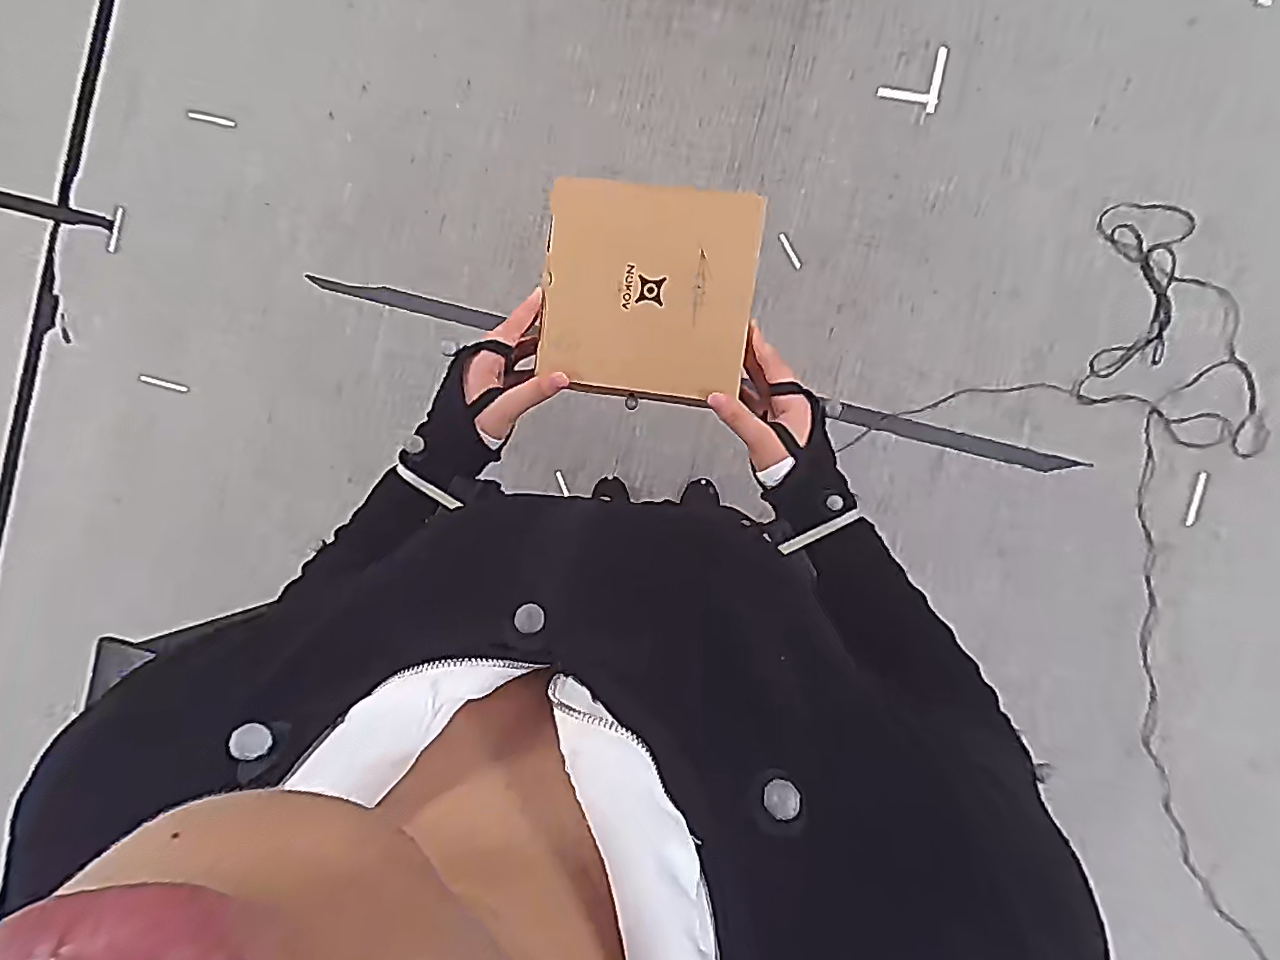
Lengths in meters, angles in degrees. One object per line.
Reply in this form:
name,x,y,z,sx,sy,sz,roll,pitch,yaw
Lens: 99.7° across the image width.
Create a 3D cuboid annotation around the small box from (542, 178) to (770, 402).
small box,0.017,-0.169,0.532,0.179,0.176,0.168,7,97,4
